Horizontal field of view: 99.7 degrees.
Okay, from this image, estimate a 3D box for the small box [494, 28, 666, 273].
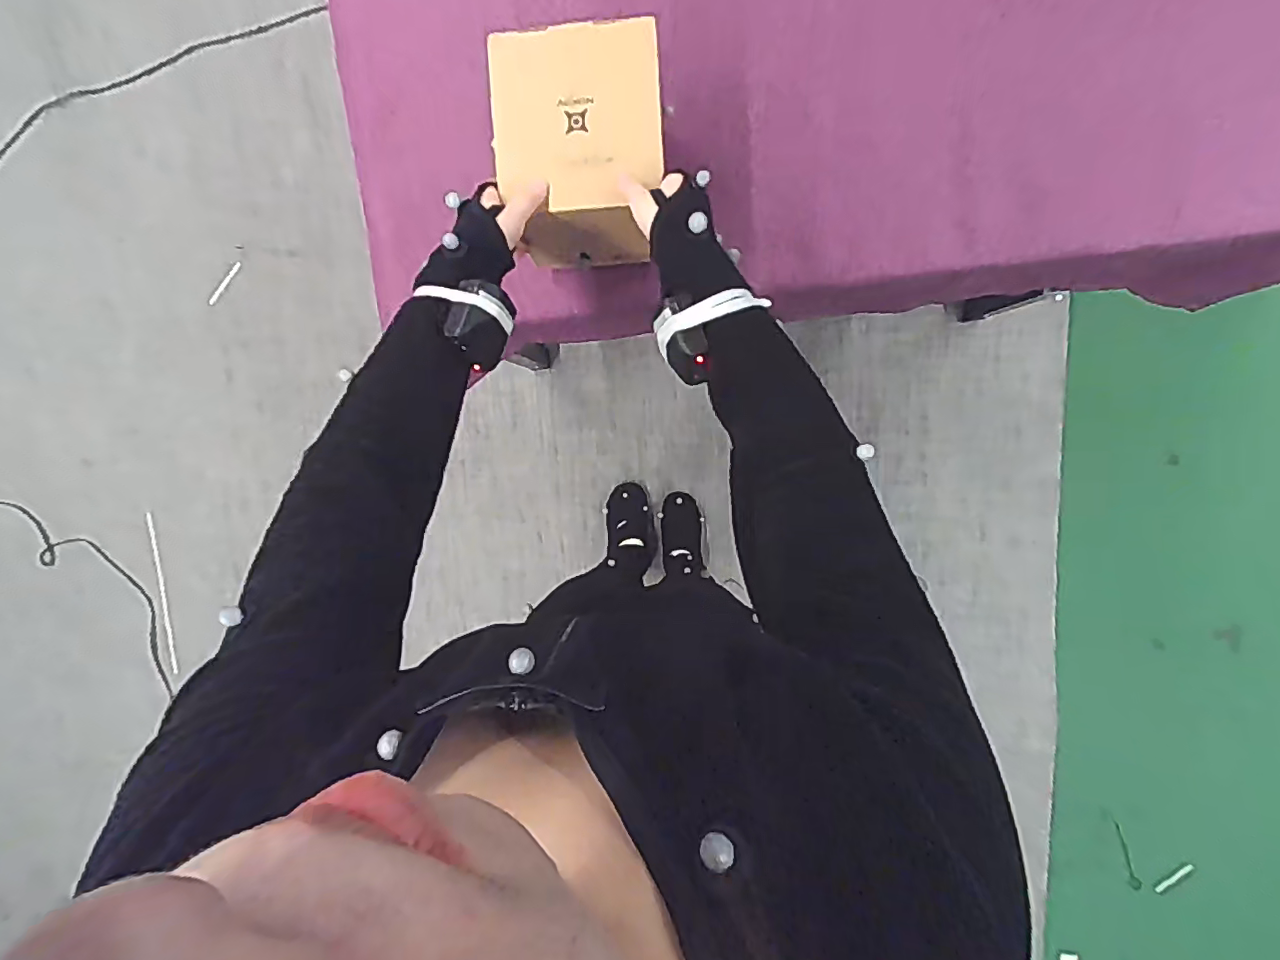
[{"bbox_3d":[-0.056,-0.351,0.608,0.168,0.176,0.179,-2,94,4],"label":"small box"}]
